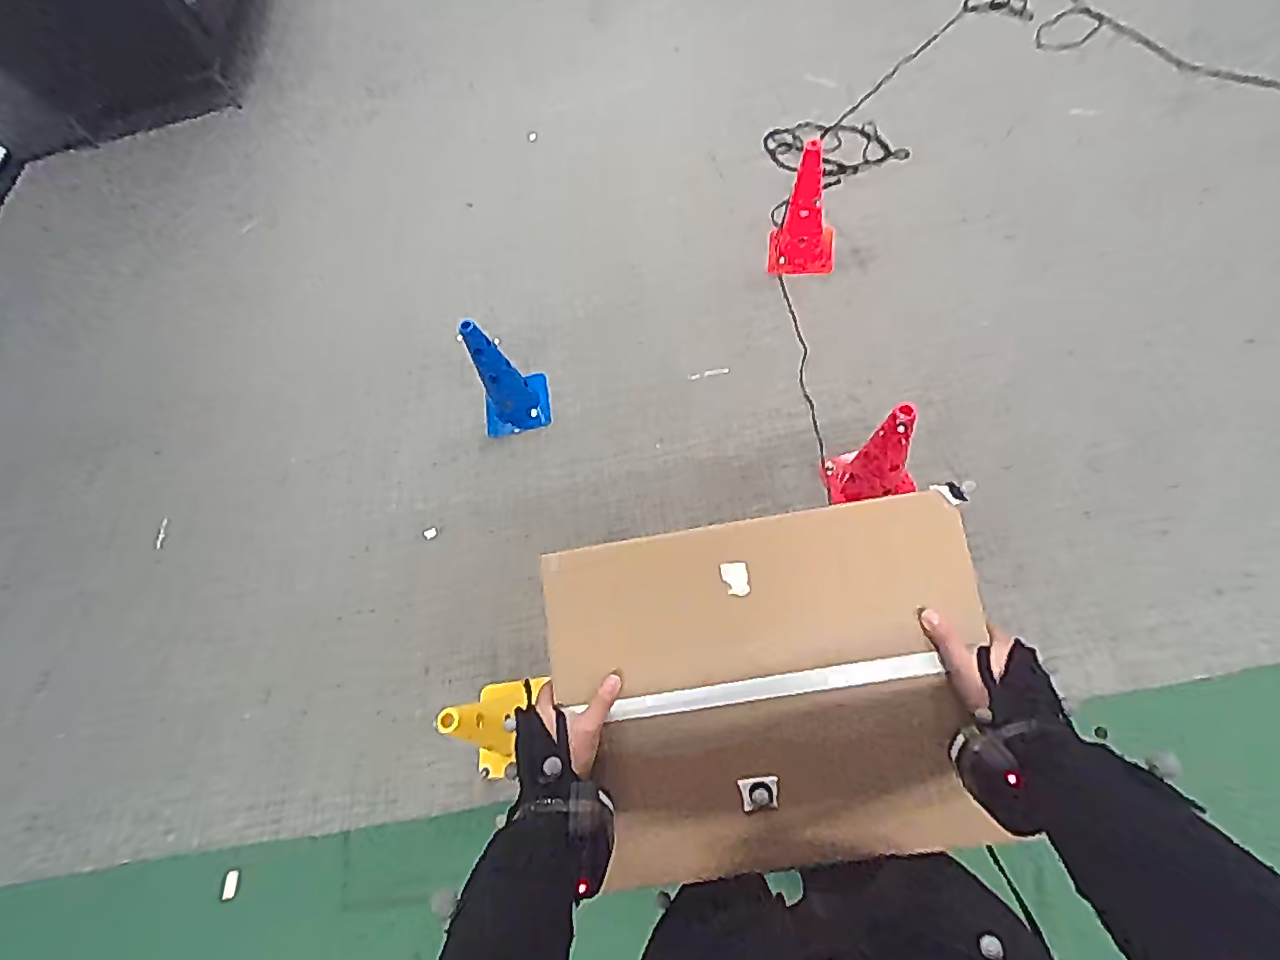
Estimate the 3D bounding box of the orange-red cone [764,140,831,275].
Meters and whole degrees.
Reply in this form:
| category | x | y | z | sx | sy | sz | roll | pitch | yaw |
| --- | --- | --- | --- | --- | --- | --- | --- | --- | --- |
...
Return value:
| category | x | y | z | sx | sy | sz | roll | pitch | yaw |
| --- | --- | --- | --- | --- | --- | --- | --- | --- | --- |
| orange-red cone | 0.476 | -0.803 | 1.571 | 0.199 | 0.360 | 0.198 | 6 | 66 | 13 |

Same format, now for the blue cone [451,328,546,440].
| category | x | y | z | sx | sy | sz | roll | pitch | yaw |
| --- | --- | --- | --- | --- | --- | --- | --- | --- | --- |
| blue cone | -0.414 | -0.289 | 1.516 | 0.192 | 0.380 | 0.193 | -13 | 62 | 6 |

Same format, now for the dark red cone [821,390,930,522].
| category | x | y | z | sx | sy | sz | roll | pitch | yaw |
| --- | --- | --- | --- | --- | --- | --- | --- | --- | --- |
| dark red cone | 0.541 | -0.073 | 1.169 | 0.202 | 0.394 | 0.201 | -19 | 65 | 2 |
